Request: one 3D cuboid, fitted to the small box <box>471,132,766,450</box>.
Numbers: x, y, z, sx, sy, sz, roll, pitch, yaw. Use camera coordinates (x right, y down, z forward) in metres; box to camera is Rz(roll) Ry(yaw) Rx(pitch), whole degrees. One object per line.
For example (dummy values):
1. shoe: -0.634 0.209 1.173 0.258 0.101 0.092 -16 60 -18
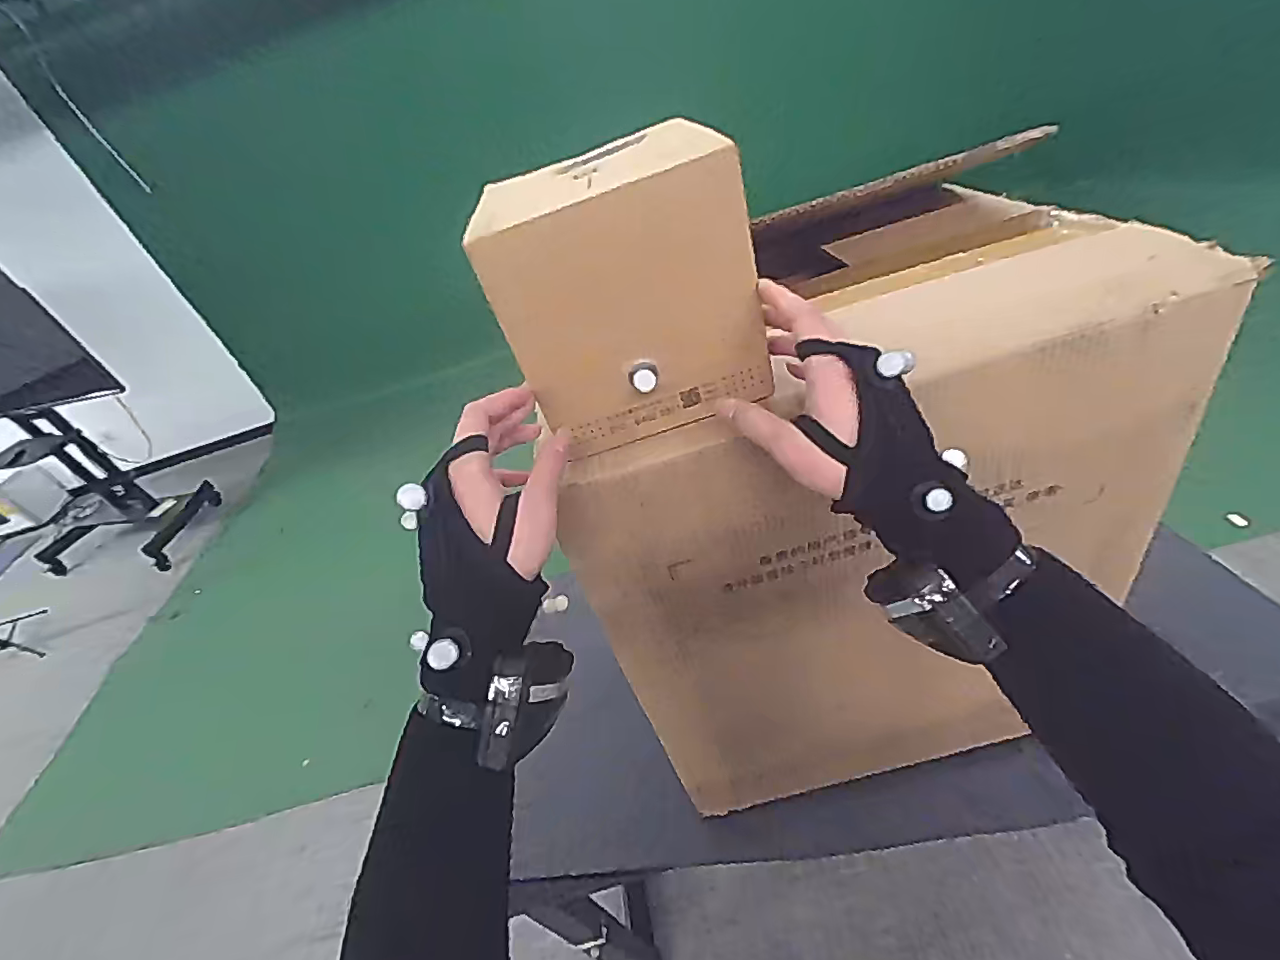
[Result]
1. small box: -0.012 -0.152 0.430 0.168 0.176 0.179 -18 37 4
